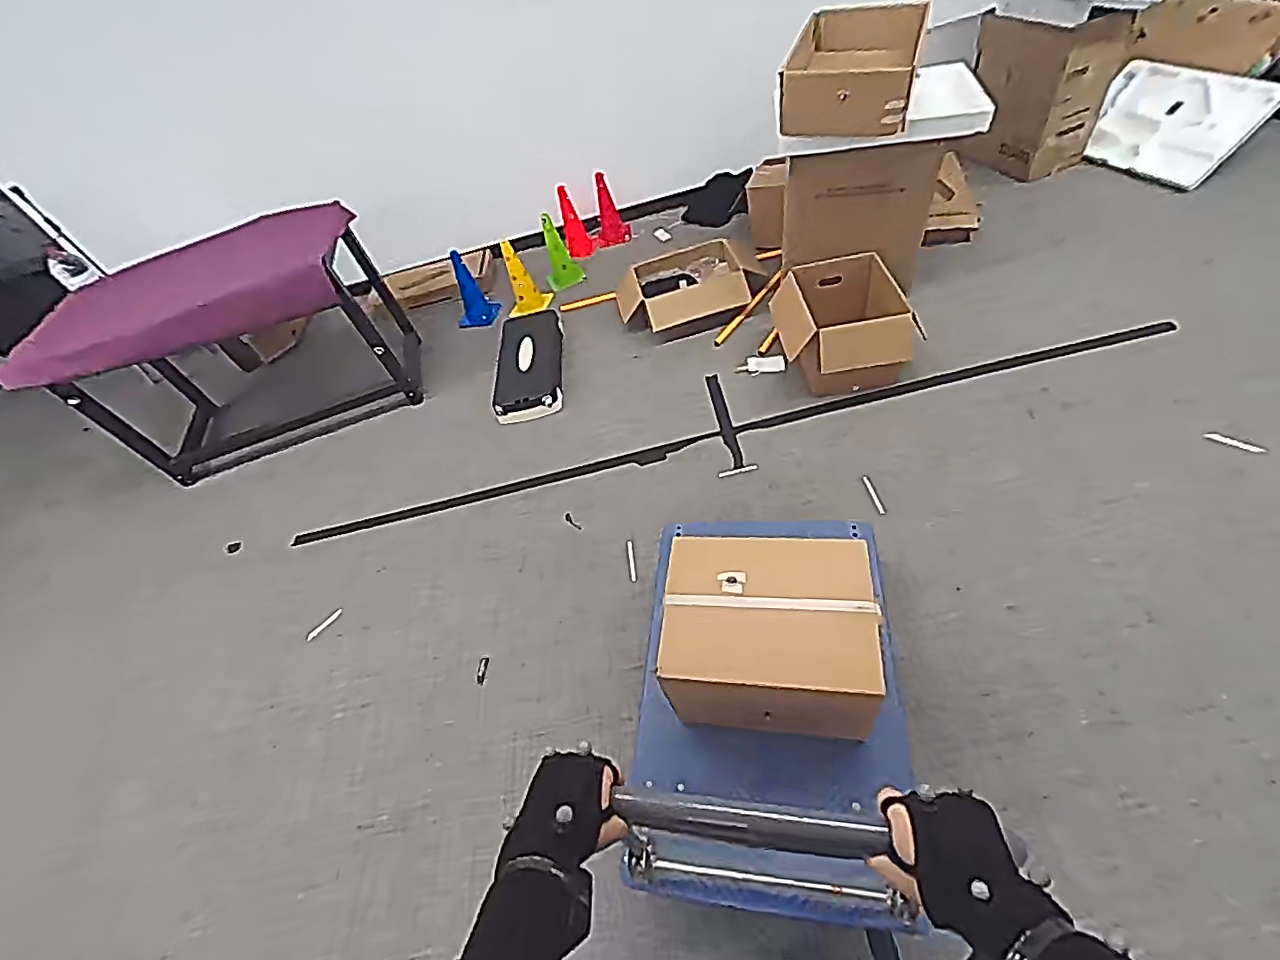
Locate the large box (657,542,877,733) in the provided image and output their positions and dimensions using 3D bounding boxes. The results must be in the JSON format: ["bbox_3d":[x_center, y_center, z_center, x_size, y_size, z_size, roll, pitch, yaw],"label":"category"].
[{"bbox_3d":[0.277,0.350,1.195,0.408,0.320,0.320,-2,50,15],"label":"large box"}]
